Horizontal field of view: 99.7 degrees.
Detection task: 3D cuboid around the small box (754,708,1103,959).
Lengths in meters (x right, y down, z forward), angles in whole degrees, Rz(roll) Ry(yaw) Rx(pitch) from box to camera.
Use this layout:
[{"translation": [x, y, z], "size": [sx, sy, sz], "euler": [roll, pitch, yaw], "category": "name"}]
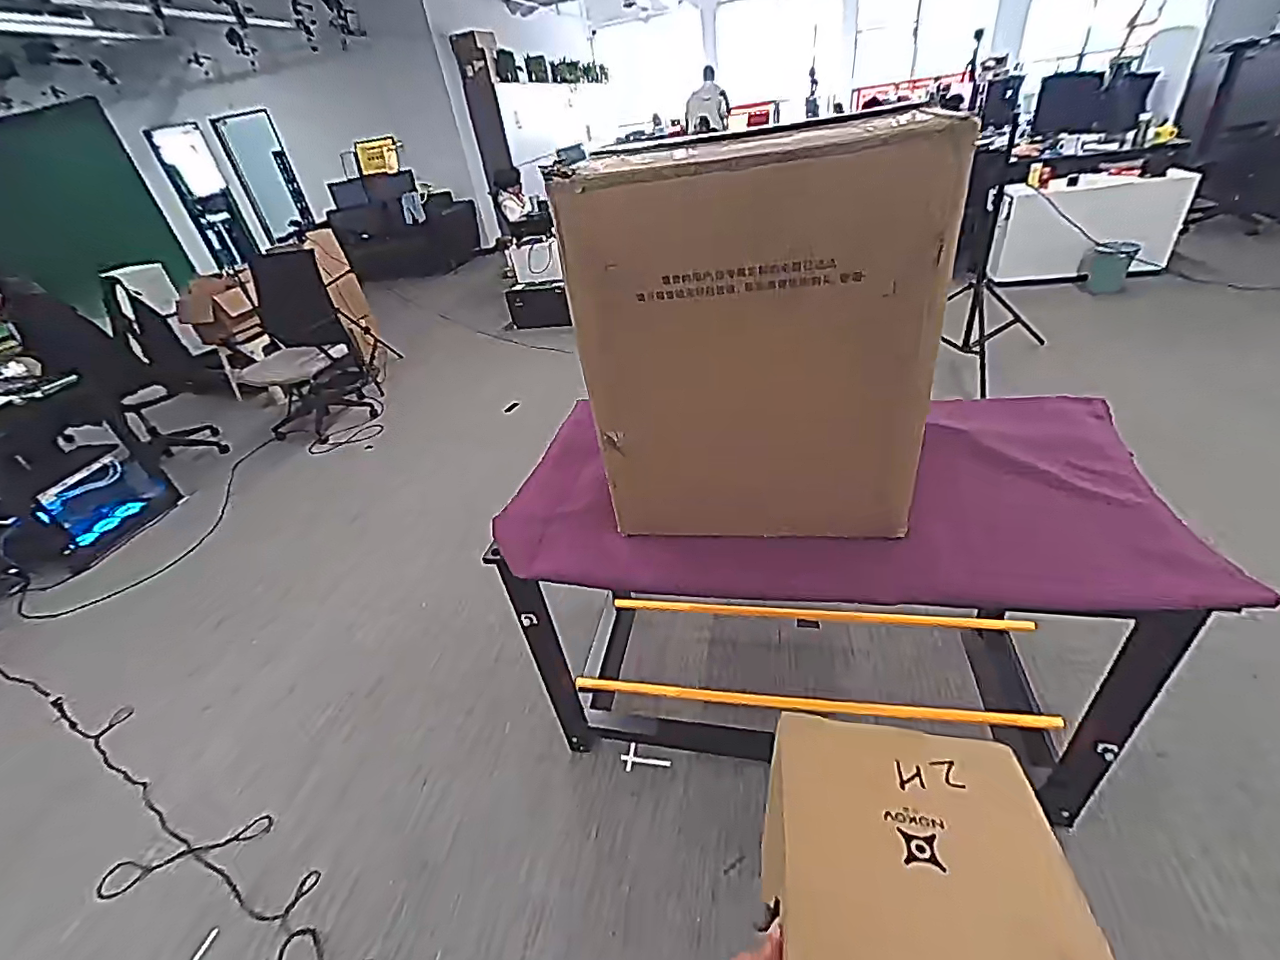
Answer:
[{"translation": [0.170, 0.296, 0.372], "size": [0.168, 0.176, 0.179], "euler": [5, 23, 11], "category": "small box"}]
